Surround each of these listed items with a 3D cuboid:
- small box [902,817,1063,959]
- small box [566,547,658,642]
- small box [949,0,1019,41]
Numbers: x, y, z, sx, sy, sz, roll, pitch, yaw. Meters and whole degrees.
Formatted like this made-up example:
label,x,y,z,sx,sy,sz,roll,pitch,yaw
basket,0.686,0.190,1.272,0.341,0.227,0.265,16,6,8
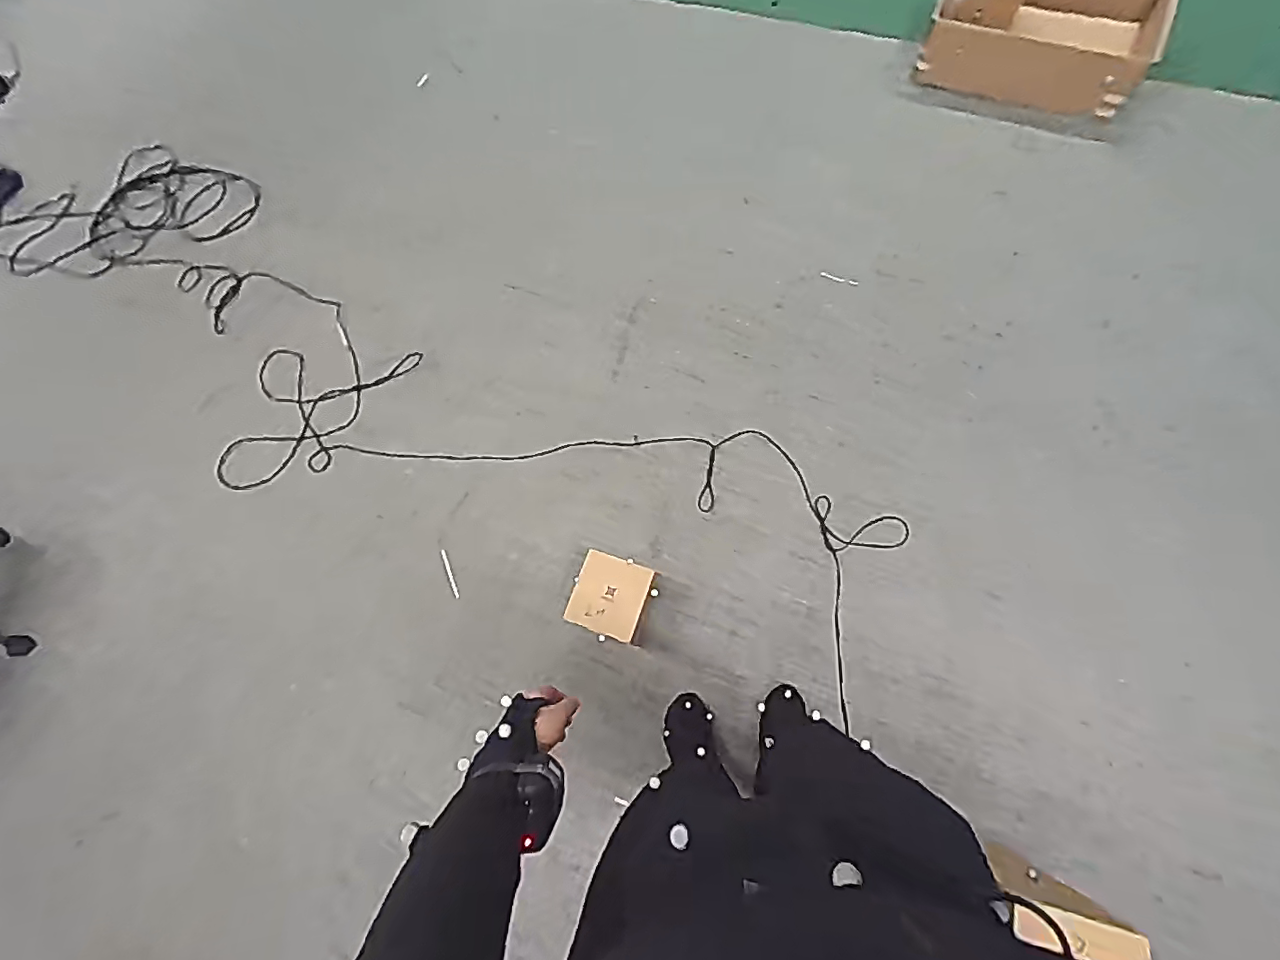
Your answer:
label,x,y,z,sx,sy,sz,roll,pitch,yaw
small box,0.585,0.722,0.945,0.179,0.176,0.168,16,77,9
small box,-0.060,0.283,1.313,0.168,0.176,0.179,17,75,12
small box,1.093,-1.516,1.678,0.168,0.176,0.179,21,78,12
